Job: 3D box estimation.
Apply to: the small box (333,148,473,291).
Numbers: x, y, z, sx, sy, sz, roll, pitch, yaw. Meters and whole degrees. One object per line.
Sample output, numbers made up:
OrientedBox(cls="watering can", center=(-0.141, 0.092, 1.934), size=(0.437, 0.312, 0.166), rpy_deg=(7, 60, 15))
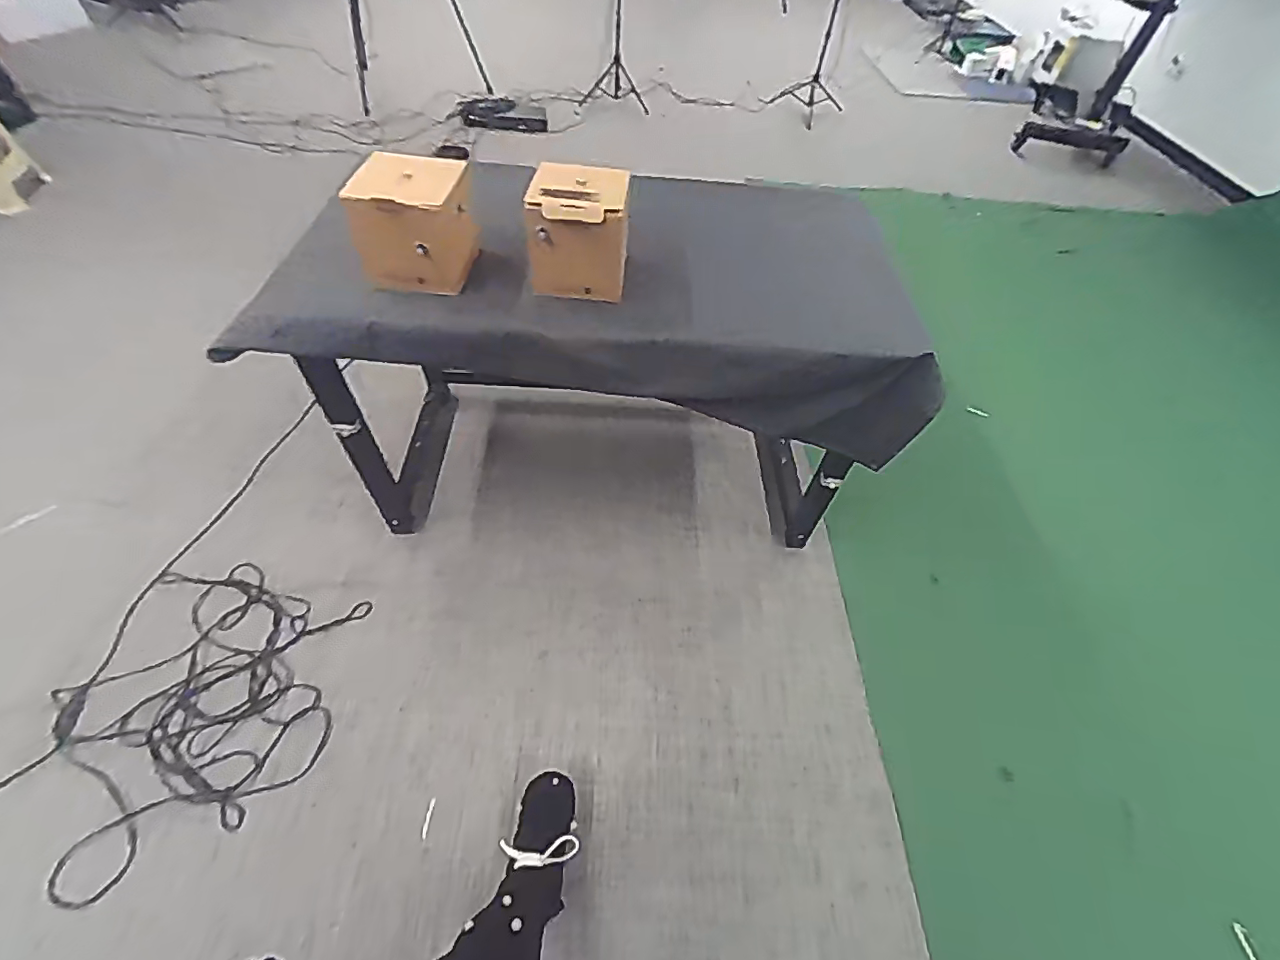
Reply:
OrientedBox(cls="small box", center=(-0.406, -0.461, 0.966), size=(0.168, 0.176, 0.179), rpy_deg=(6, 51, -3))
